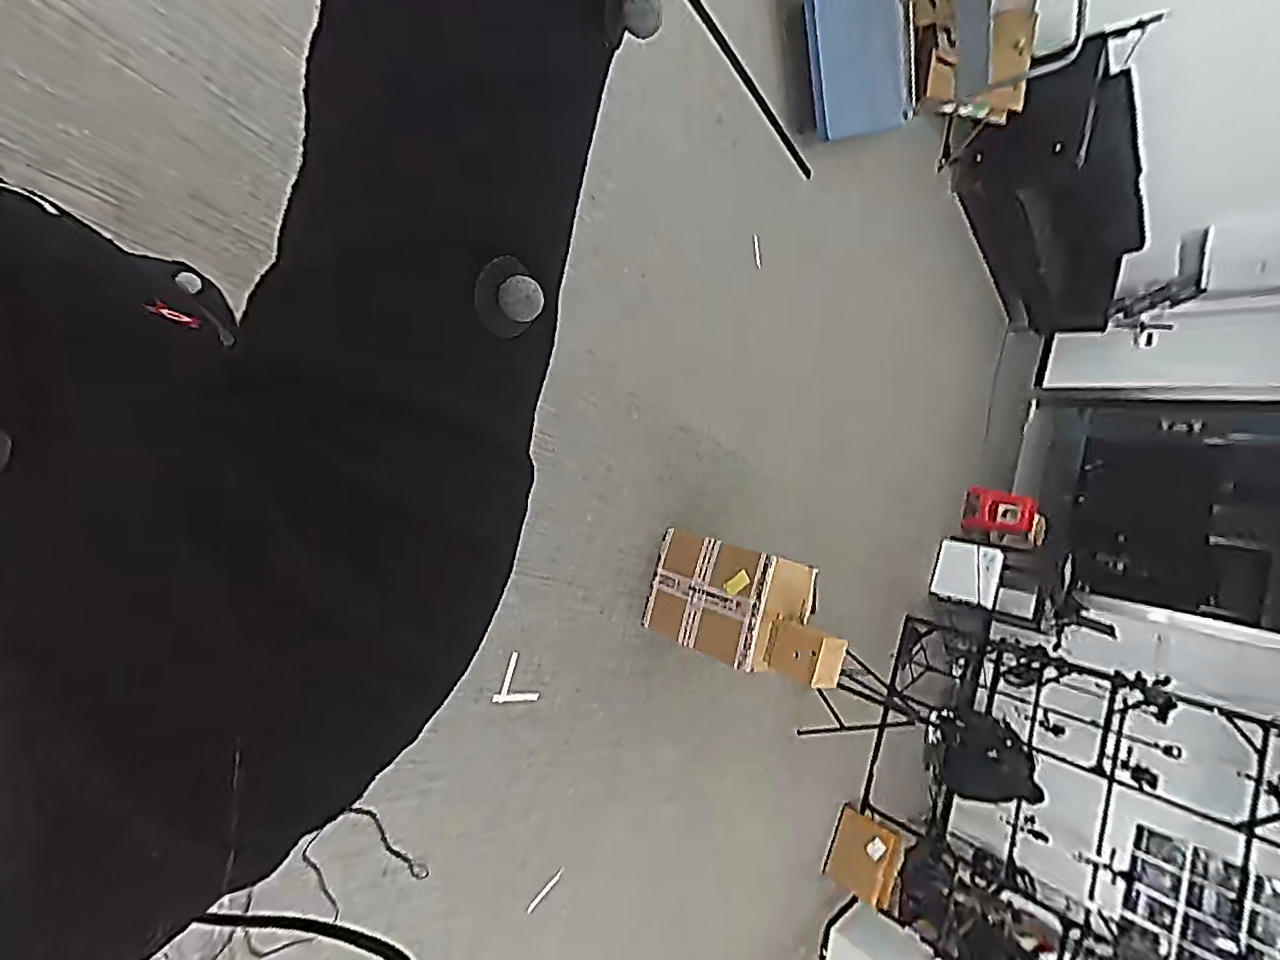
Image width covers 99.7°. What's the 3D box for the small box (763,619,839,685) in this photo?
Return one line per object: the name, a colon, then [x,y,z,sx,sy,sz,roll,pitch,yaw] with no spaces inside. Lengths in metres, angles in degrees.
small box: [0.549,0.581,1.833,0.179,0.176,0.168,20,86,-42]
